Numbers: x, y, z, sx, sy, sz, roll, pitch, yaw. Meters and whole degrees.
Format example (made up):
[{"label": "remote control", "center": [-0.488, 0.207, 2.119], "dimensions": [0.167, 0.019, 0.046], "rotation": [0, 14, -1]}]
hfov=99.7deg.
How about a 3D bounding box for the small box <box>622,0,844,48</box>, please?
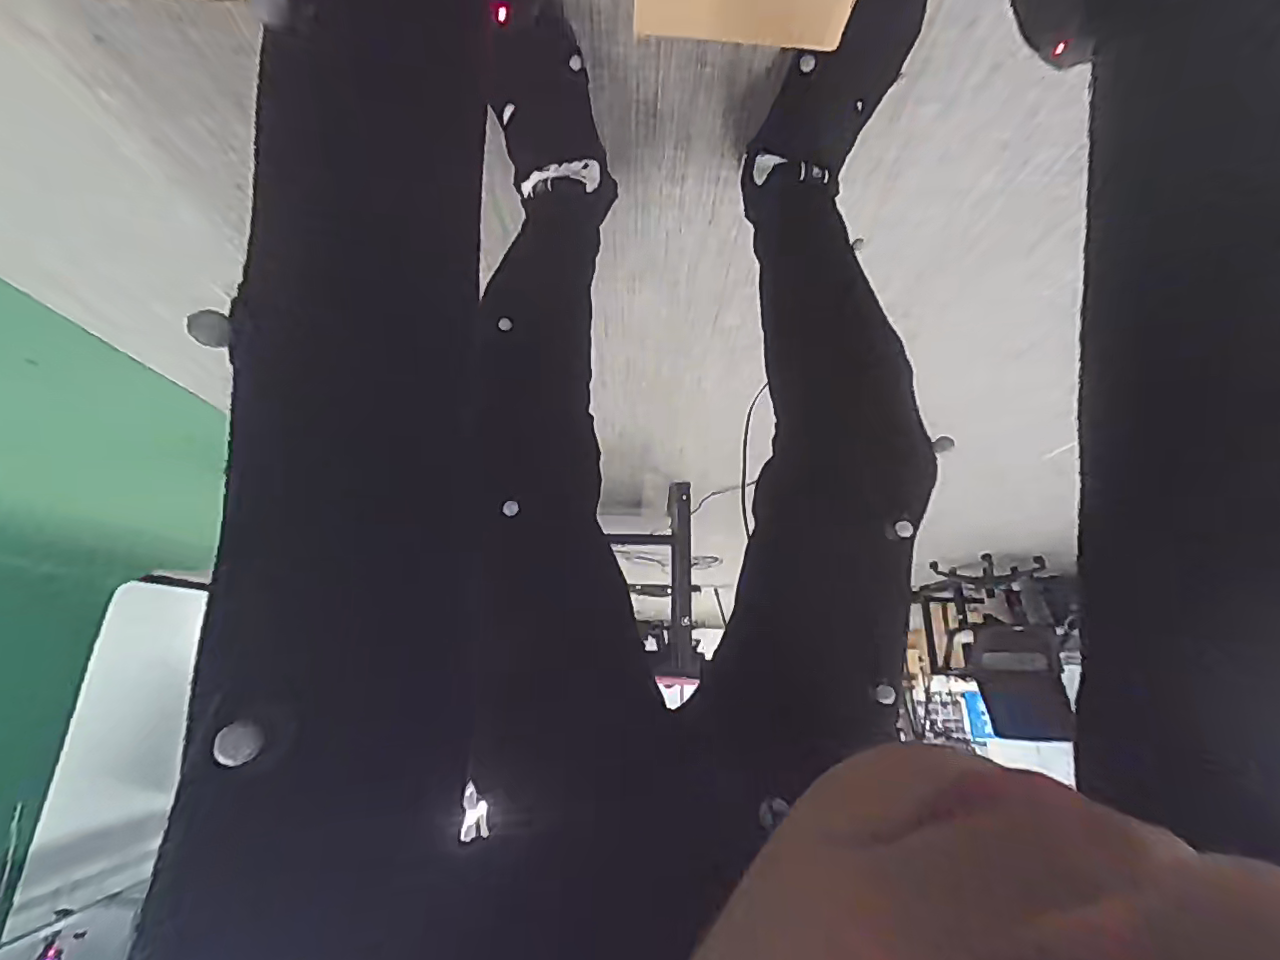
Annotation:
[{"label": "small box", "center": [0.077, -0.469, 0.399], "dimensions": [0.179, 0.176, 0.168], "rotation": [1, 162, -2]}]
